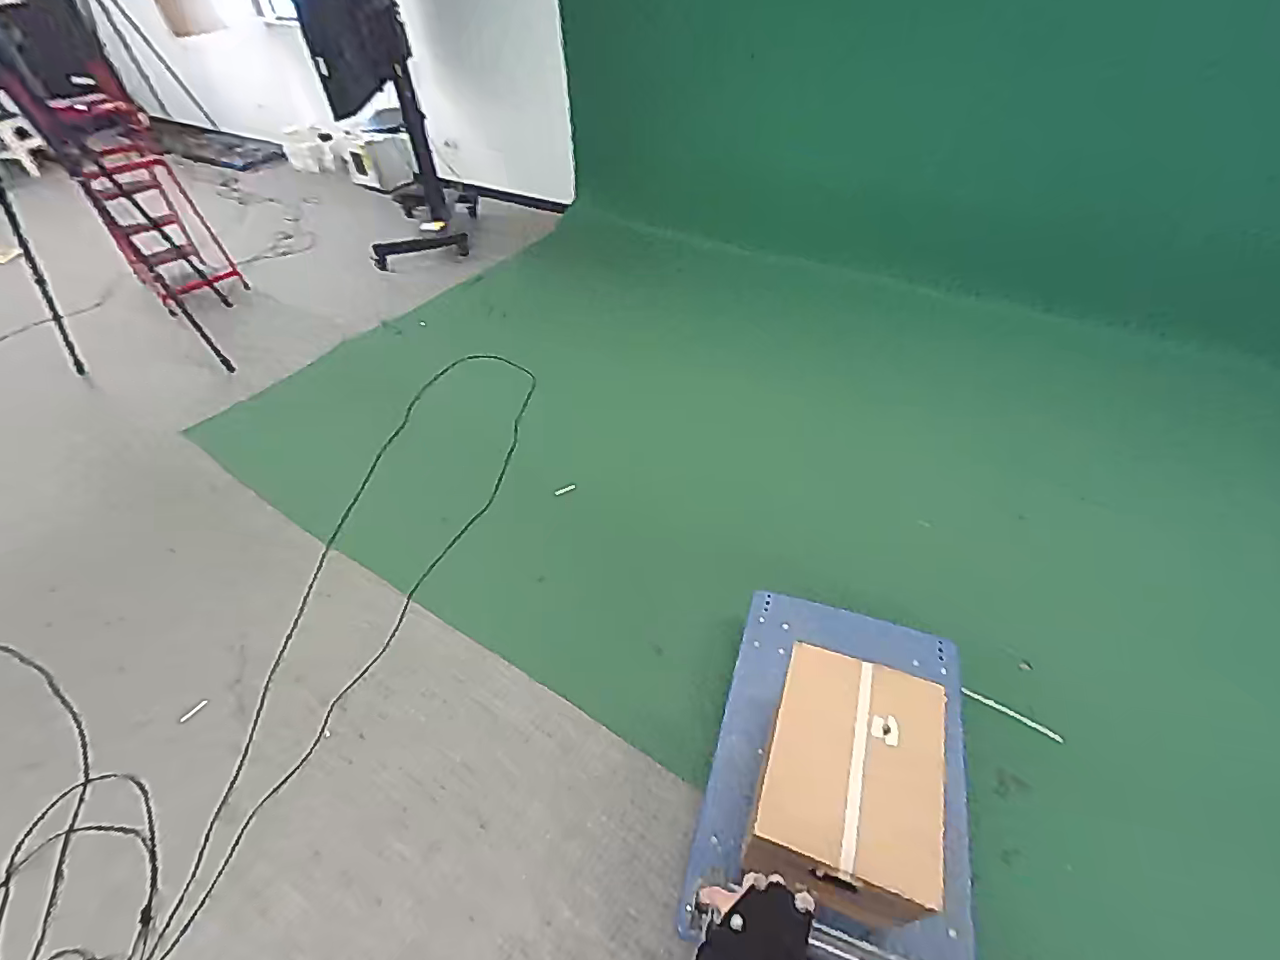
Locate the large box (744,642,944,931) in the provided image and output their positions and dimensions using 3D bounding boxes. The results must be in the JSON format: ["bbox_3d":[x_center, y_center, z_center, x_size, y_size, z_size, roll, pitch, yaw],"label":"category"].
[{"bbox_3d":[0.422,0.633,1.142,0.320,0.320,0.408,15,47,16],"label":"large box"}]
